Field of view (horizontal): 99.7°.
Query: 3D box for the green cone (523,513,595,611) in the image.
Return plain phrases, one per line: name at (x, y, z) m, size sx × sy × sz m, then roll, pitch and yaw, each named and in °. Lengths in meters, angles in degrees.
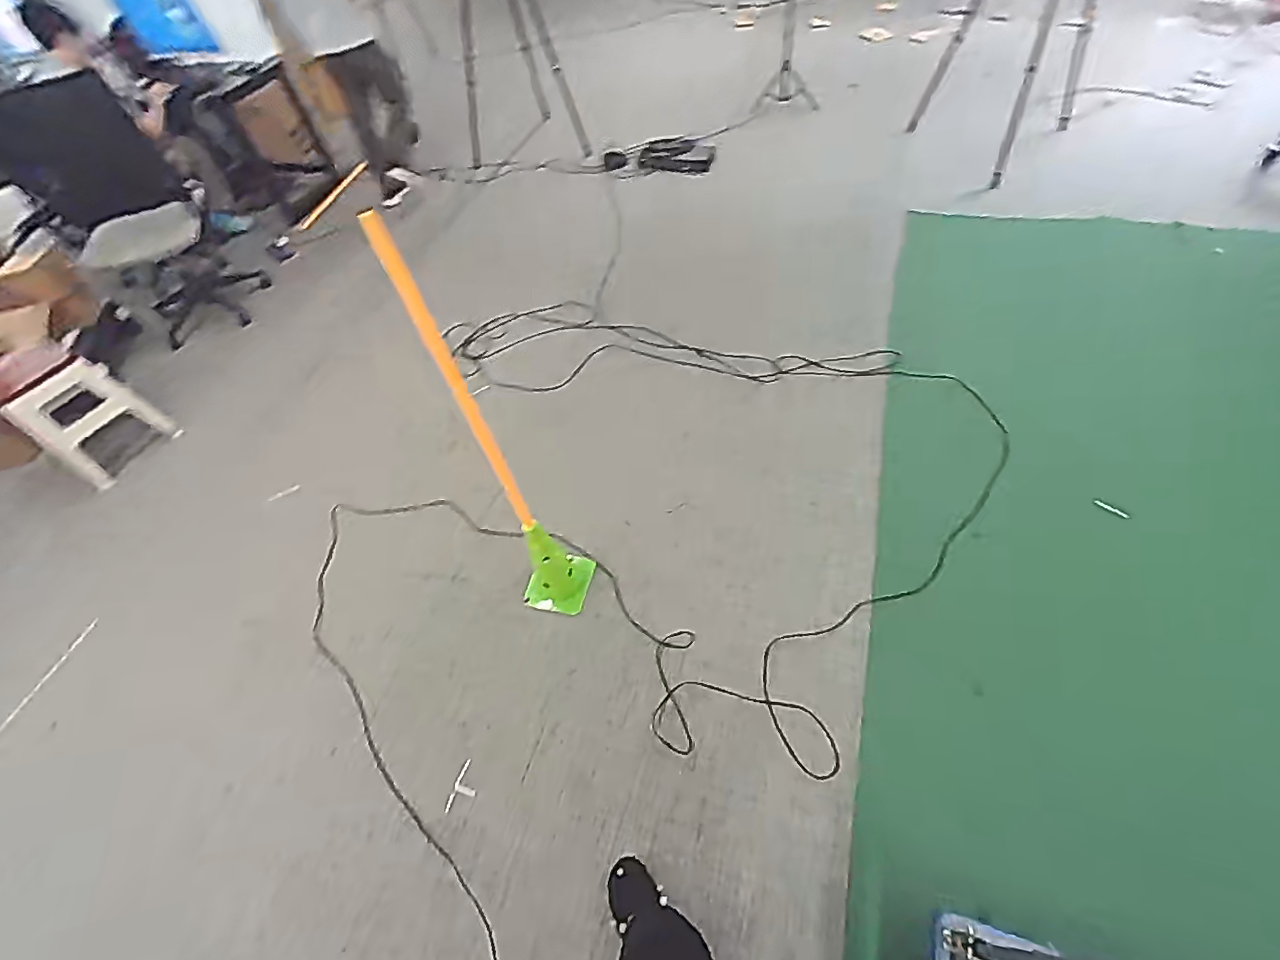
green cone at (-0.285, 0.222, 1.641) m, size 0.200 × 0.368 × 0.202 m, roll 7°, pitch 54°, yaw 14°
